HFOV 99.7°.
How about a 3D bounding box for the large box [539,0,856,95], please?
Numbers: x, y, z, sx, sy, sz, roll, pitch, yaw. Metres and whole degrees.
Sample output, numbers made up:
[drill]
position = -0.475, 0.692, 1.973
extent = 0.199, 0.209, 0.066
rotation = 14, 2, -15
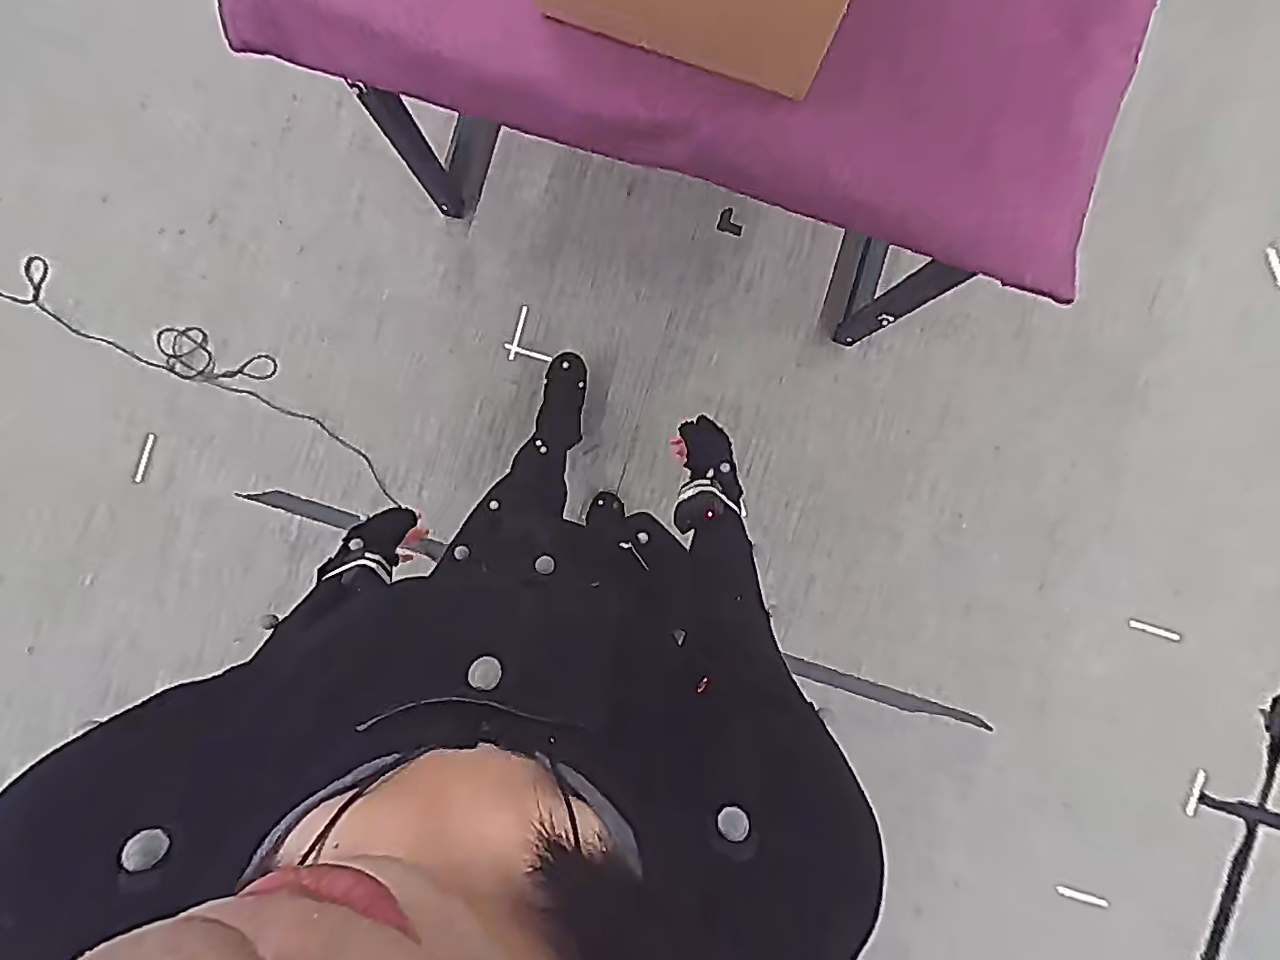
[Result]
[large box]
position = 0.095, -0.742, 0.620
extent = 0.408, 0.320, 0.320
rotation = 16, 92, -3
